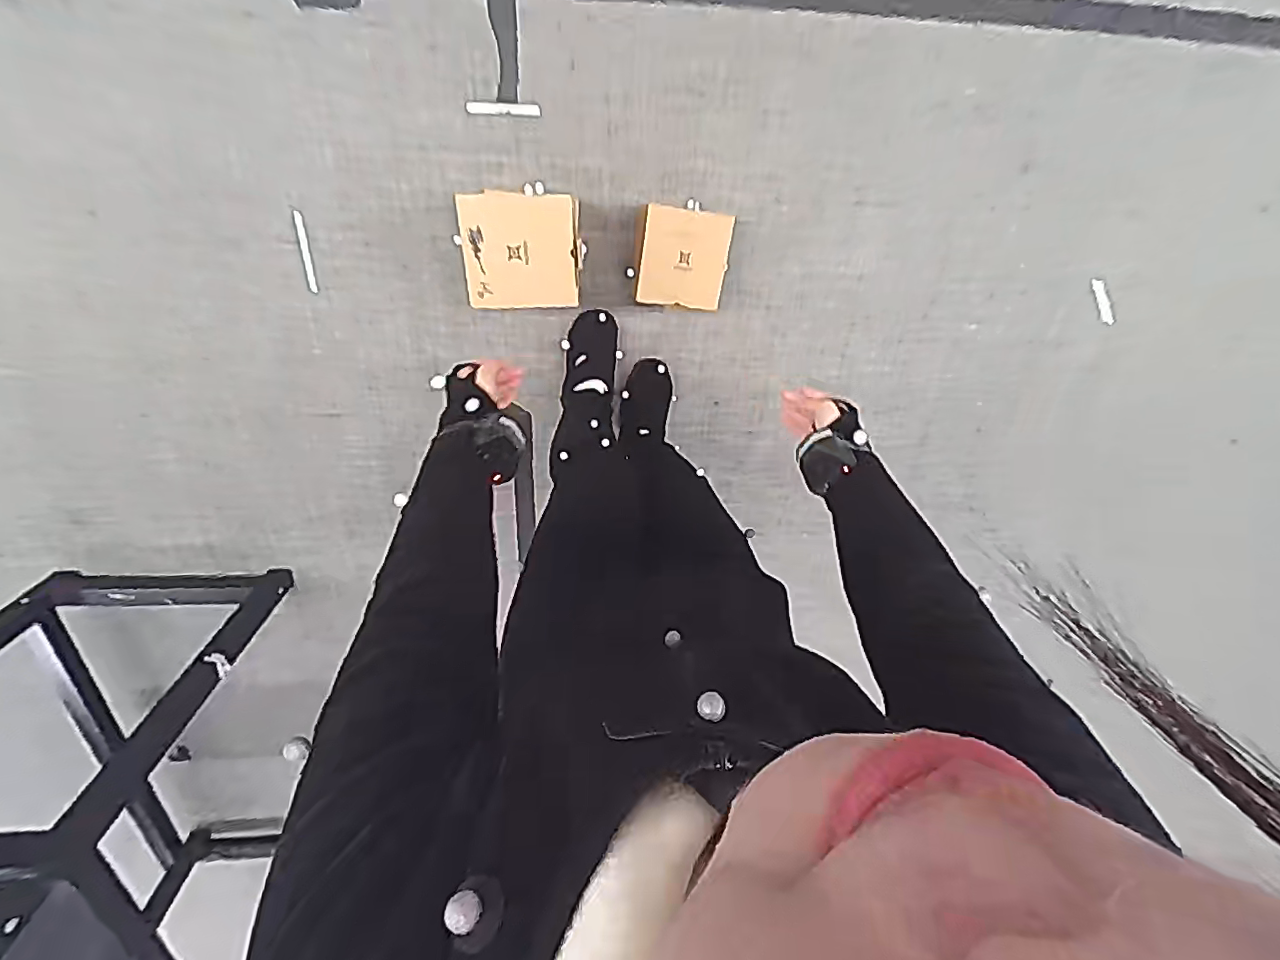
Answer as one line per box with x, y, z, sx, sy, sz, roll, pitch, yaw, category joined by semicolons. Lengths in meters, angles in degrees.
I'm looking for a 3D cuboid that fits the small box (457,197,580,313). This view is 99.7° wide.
-0.194;-0.380;0.906;0.179;0.176;0.168;-3;117;-6;small box

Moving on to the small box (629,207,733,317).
0.073;-0.443;1.093;0.168;0.176;0.179;4;116;-10;small box
